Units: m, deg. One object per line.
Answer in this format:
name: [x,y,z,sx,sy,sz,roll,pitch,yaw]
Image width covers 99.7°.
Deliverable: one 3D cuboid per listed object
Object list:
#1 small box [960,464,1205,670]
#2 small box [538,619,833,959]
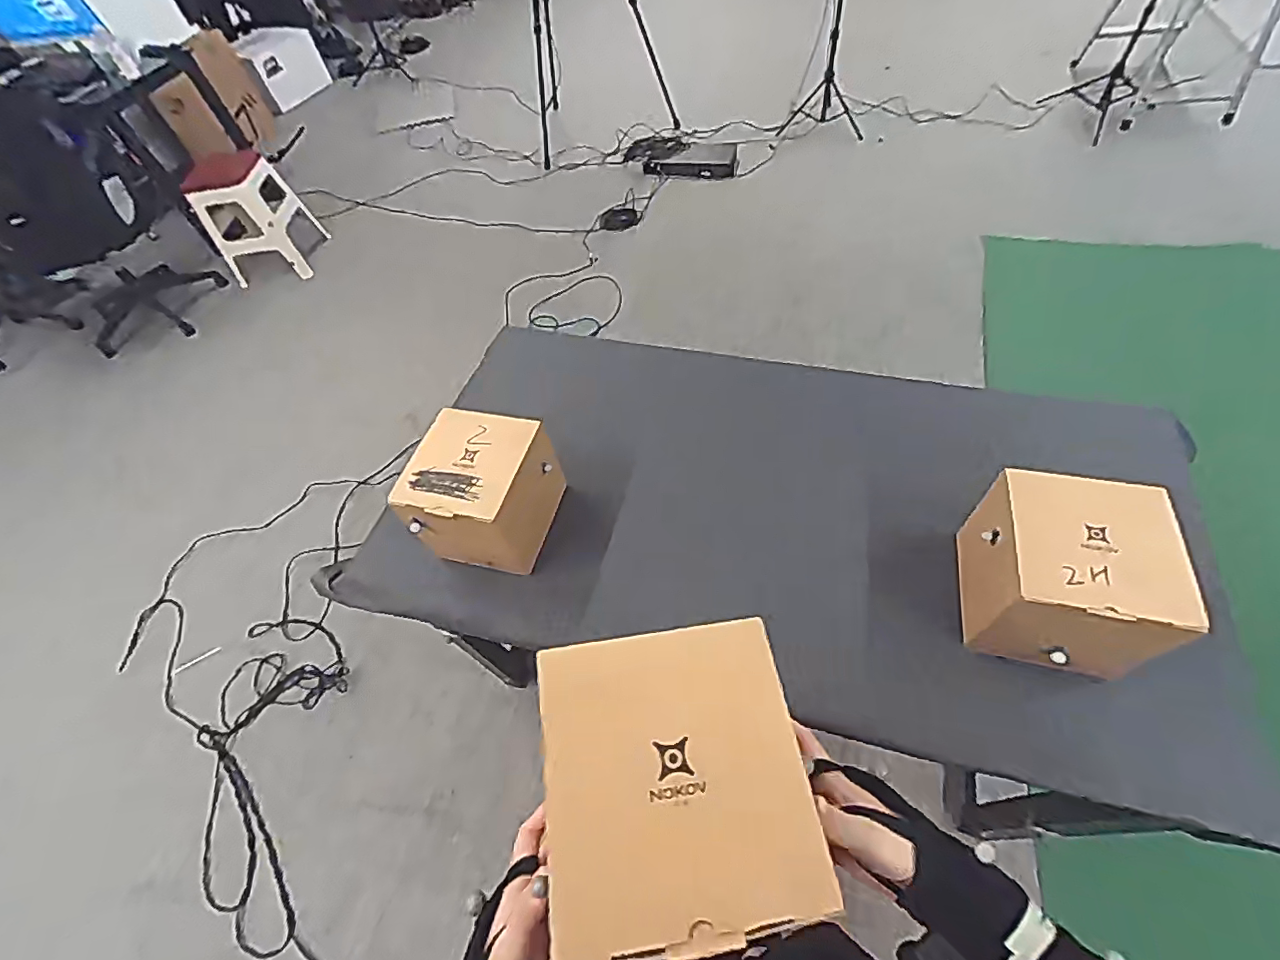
small box: [0.507,0.107,0.656,0.168,0.176,0.179,8,57,15]
small box: [0.017,0.229,0.416,0.168,0.176,0.179,-8,57,-6]
